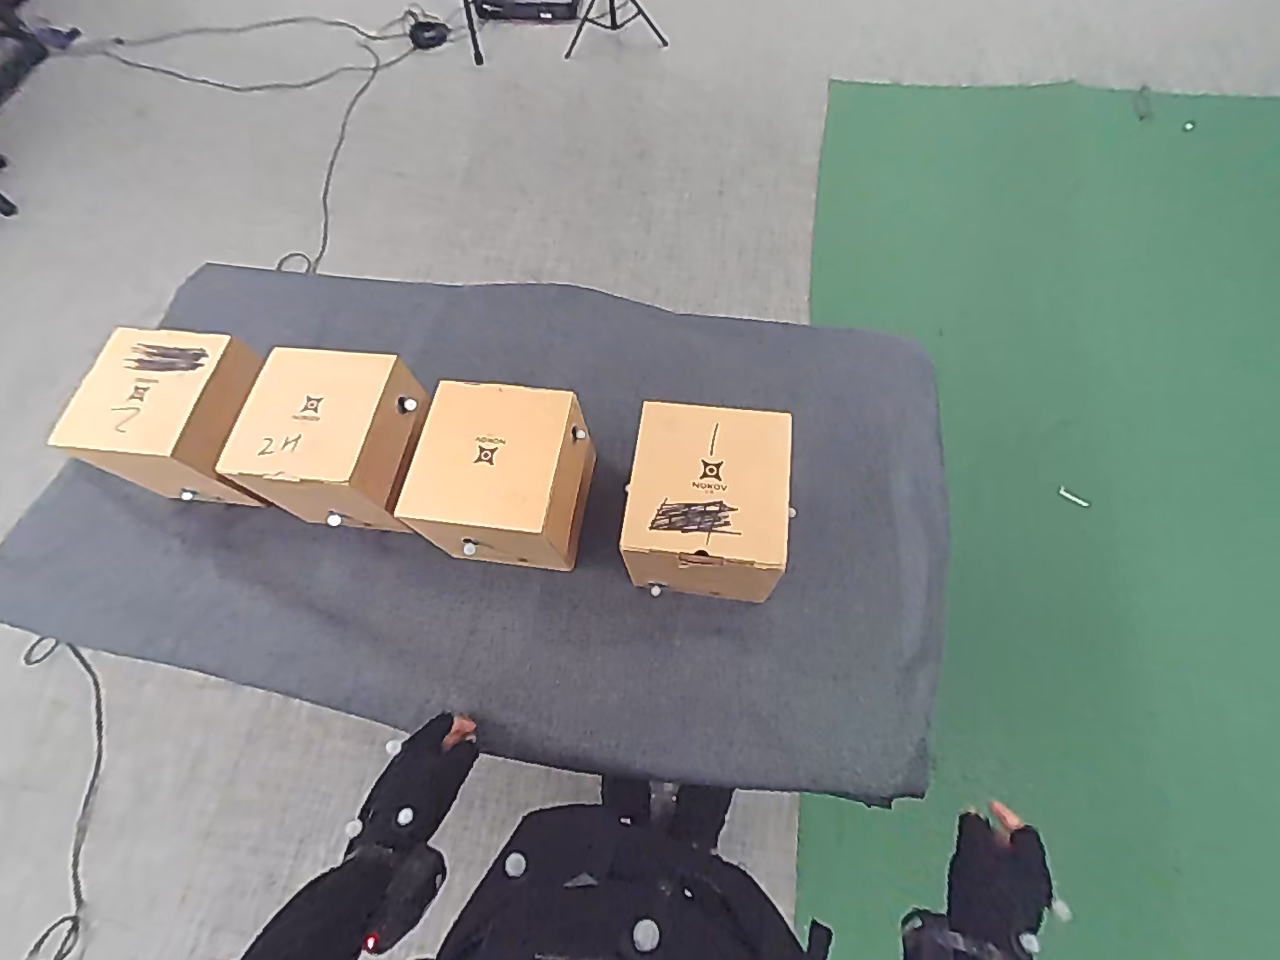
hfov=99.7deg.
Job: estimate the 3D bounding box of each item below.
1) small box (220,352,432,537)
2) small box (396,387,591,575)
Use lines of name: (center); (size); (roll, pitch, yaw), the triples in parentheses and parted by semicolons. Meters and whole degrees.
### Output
small box: (-0.378, -0.041, 0.706); (0.168, 0.176, 0.179); (5, 66, 7)
small box: (-0.163, 0.009, 0.670); (0.168, 0.176, 0.179); (6, 65, 7)
